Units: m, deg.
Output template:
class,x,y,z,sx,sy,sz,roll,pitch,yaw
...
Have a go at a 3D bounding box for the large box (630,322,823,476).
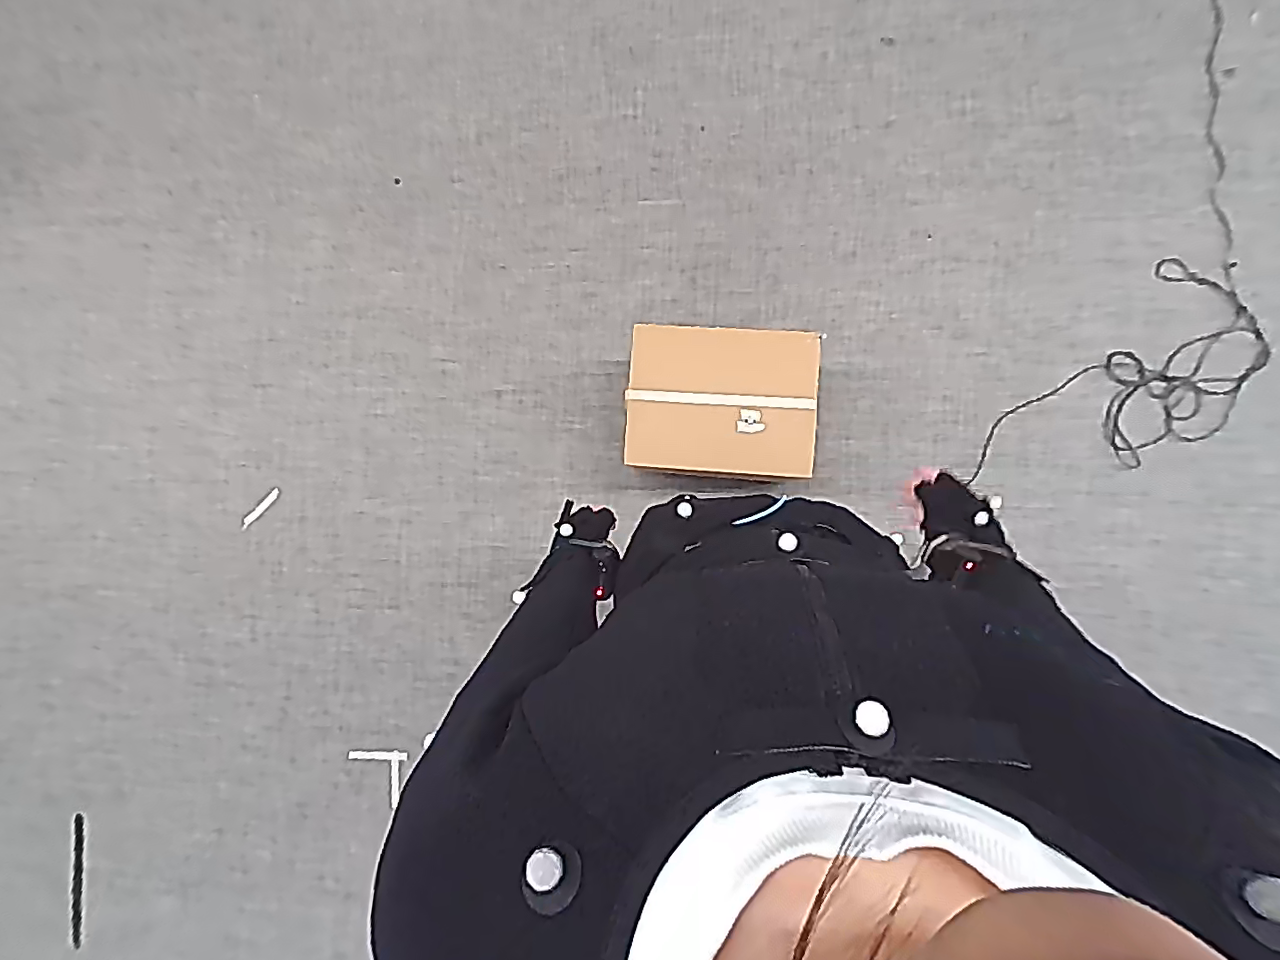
class,x,y,z,sx,sy,sz,roll,pitch,yaw
large box,0.196,-0.178,1.315,0.408,0.320,0.320,4,89,5
